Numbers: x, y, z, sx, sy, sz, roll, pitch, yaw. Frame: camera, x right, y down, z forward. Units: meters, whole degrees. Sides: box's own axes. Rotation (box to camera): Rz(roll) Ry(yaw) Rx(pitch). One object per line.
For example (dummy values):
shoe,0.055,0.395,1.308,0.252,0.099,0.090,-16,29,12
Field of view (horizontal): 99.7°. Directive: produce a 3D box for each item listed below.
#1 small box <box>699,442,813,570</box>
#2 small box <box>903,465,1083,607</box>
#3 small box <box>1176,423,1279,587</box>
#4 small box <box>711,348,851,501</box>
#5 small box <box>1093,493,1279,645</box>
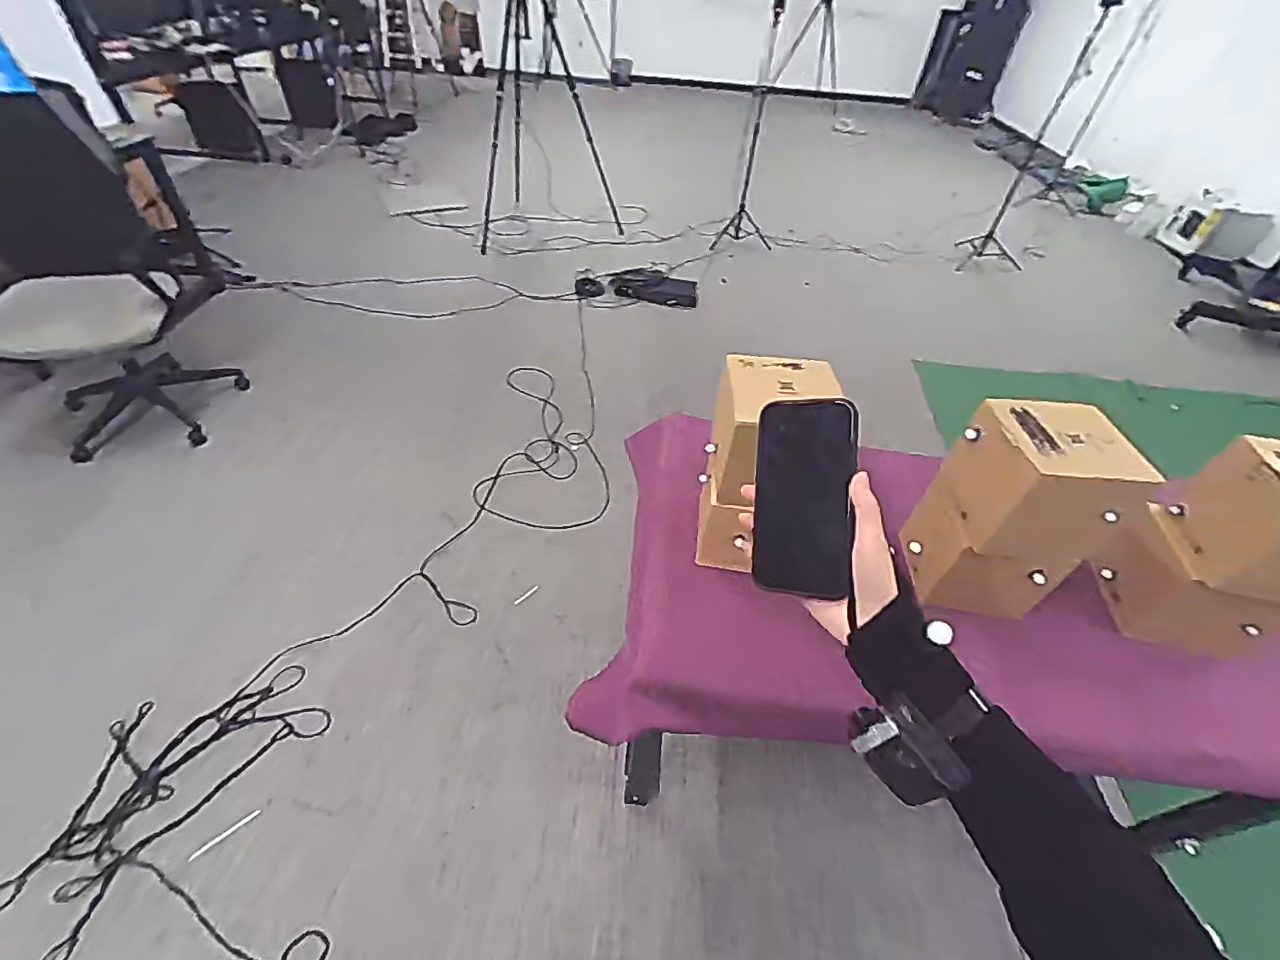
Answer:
small box,0.198,0.038,0.955,0.168,0.176,0.179,7,45,3
small box,0.582,0.098,0.921,0.179,0.176,0.168,7,45,3
small box,0.933,0.046,0.769,0.179,0.176,0.168,11,45,7
small box,0.207,-0.084,0.846,0.168,0.176,0.179,4,45,-1
small box,0.918,0.150,0.895,0.179,0.176,0.168,11,45,8
